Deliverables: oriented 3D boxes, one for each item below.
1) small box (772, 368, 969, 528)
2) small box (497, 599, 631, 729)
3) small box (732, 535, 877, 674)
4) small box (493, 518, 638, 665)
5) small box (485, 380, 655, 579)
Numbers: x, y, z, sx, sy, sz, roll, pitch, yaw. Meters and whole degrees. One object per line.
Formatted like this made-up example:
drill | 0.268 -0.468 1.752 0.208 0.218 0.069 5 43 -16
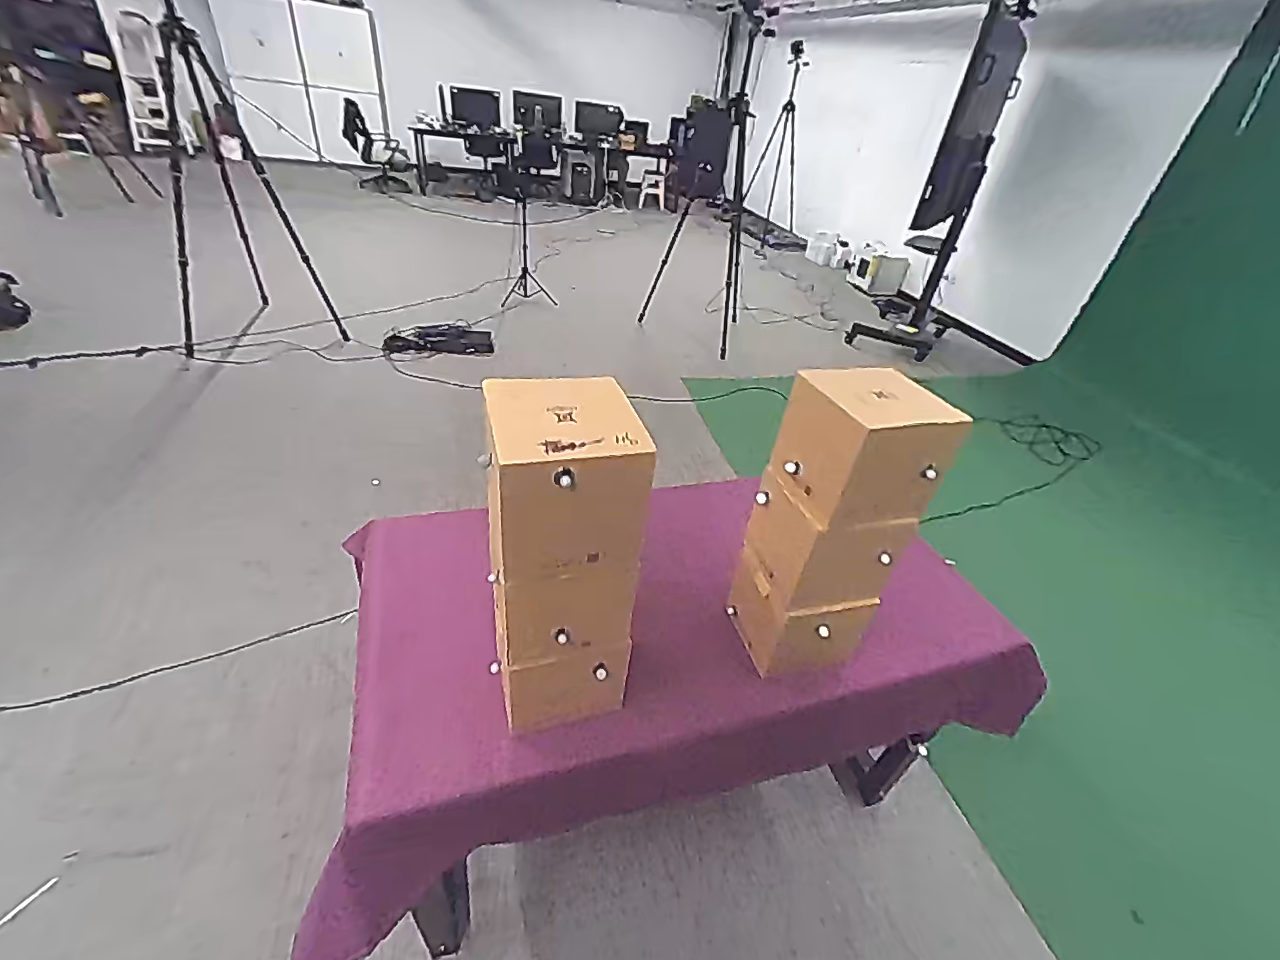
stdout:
small box | 0.320 -0.050 0.788 0.179 0.176 0.168 -6 38 -18
small box | -0.127 0.257 0.845 0.179 0.176 0.168 -6 38 -18
small box | 0.277 0.222 0.966 0.179 0.176 0.168 -4 38 -17
small box | -0.114 0.124 0.752 0.168 0.176 0.179 -6 39 -19
small box | -0.095 -0.007 0.654 0.168 0.176 0.179 -6 38 -18
